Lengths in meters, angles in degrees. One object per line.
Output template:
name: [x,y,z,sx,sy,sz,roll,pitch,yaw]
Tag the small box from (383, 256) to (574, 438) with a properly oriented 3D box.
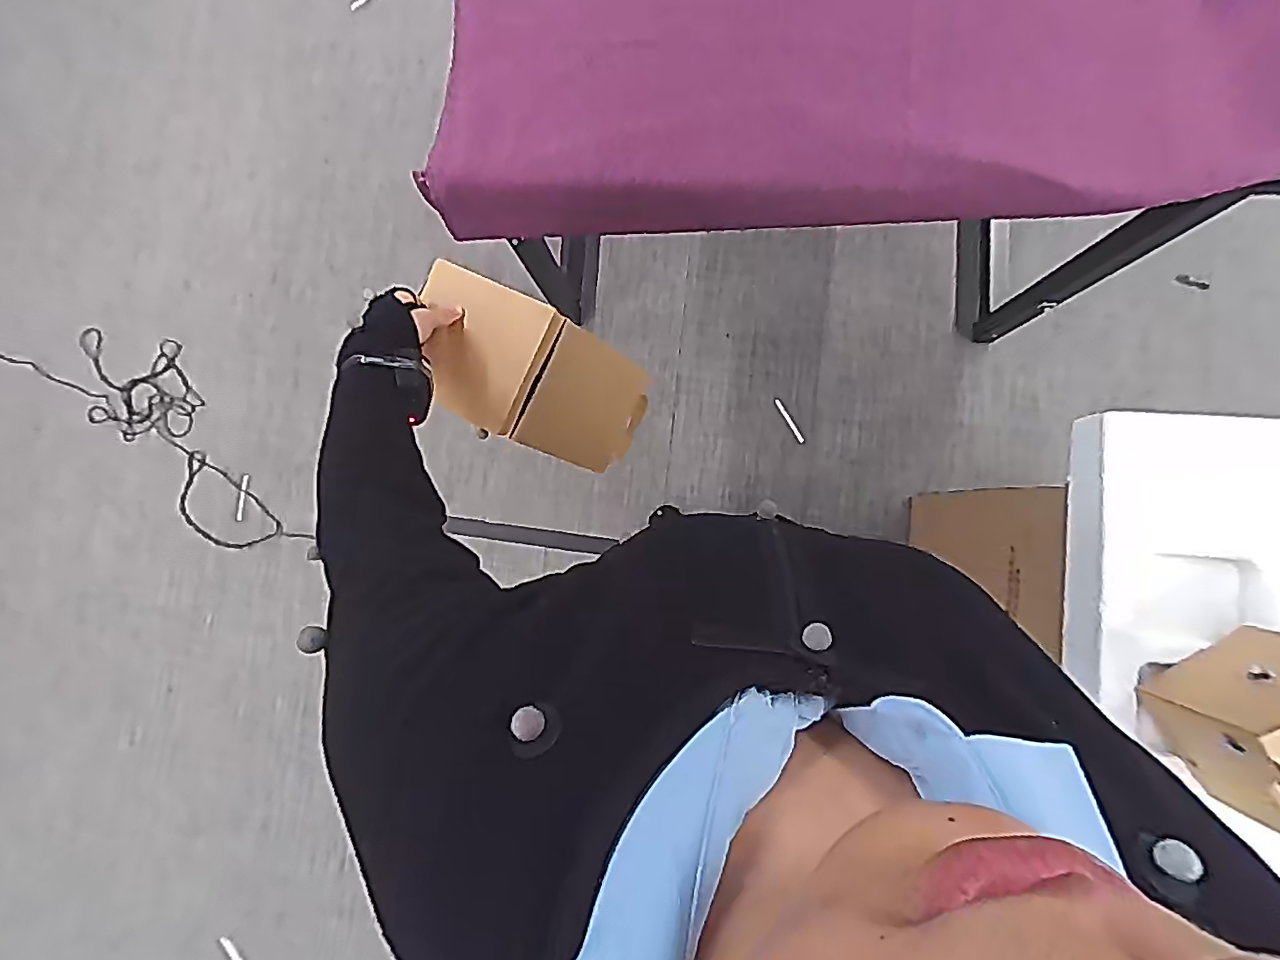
small box: [-0.202,-0.168,0.737,0.179,0.176,0.168,26,92,-2]
